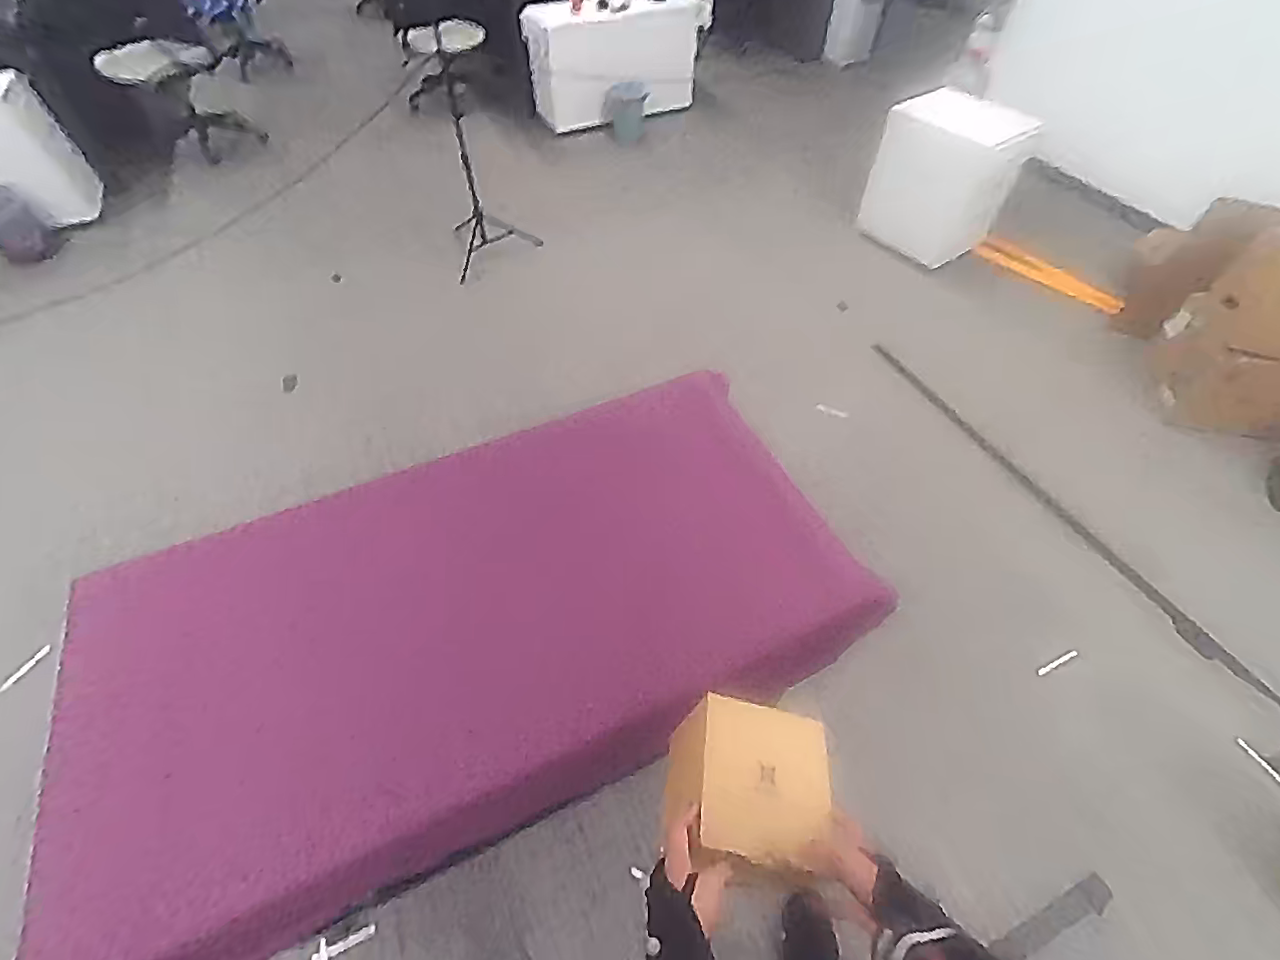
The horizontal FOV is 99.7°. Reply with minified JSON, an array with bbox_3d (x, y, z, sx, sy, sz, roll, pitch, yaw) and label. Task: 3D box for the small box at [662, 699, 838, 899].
[{"bbox_3d":[0.135,0.419,0.708,0.168,0.176,0.179,16,47,-4],"label":"small box"}]
